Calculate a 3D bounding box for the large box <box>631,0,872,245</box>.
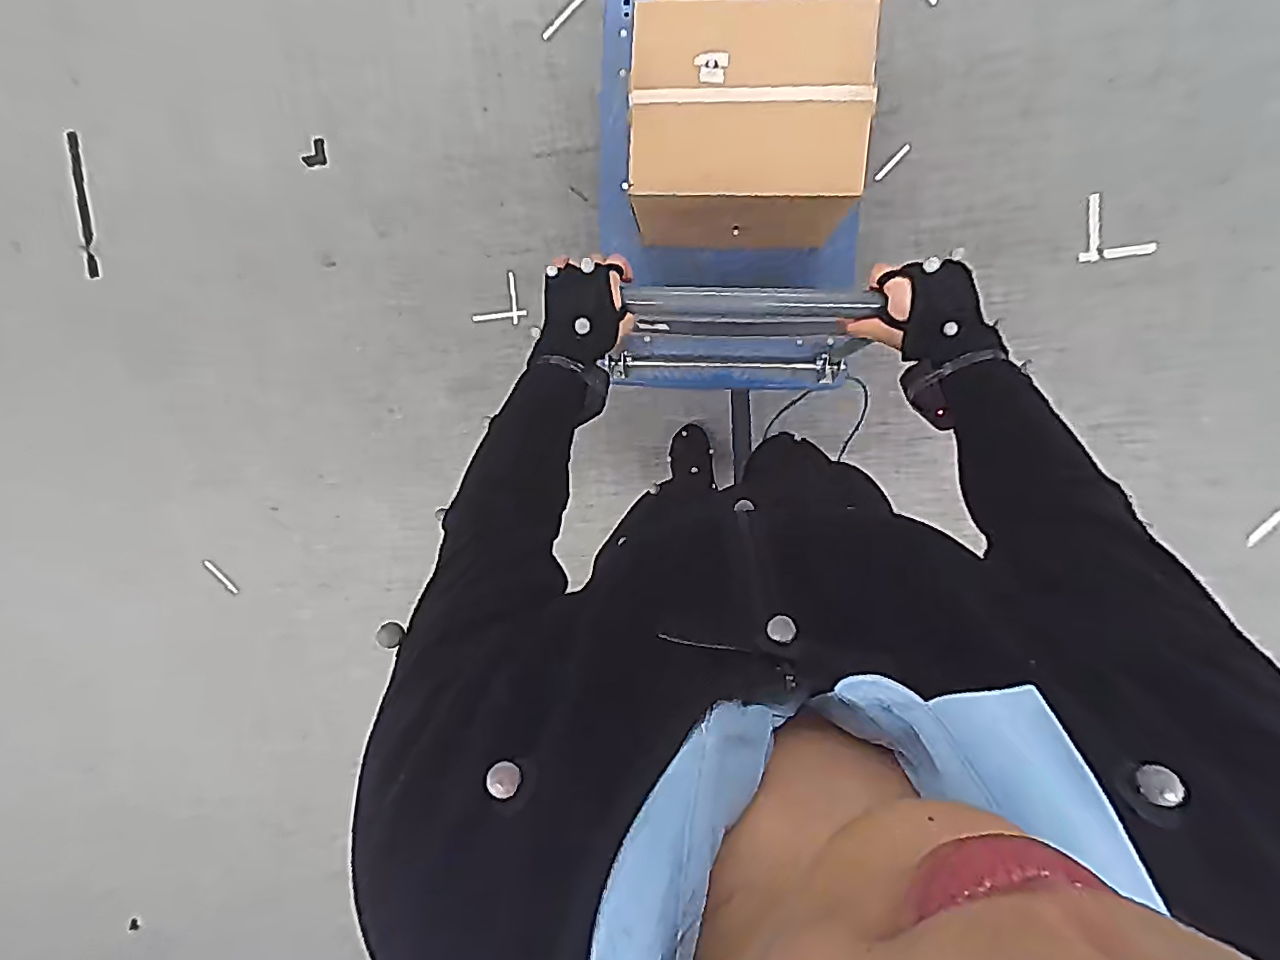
[{"bbox_3d":[0.203,-0.671,1.077,0.408,0.320,0.320,3,97,6],"label":"large box"}]
